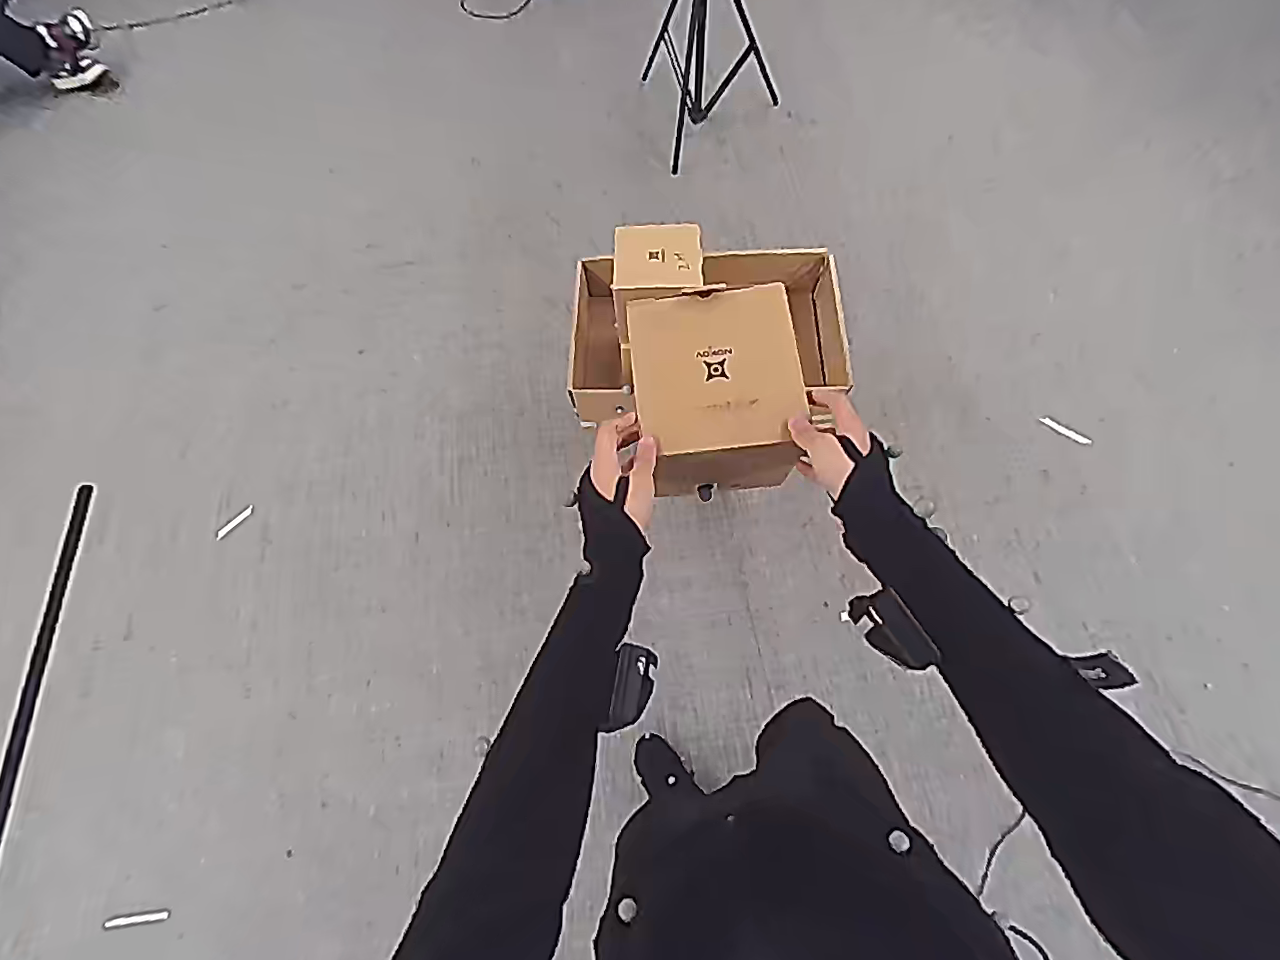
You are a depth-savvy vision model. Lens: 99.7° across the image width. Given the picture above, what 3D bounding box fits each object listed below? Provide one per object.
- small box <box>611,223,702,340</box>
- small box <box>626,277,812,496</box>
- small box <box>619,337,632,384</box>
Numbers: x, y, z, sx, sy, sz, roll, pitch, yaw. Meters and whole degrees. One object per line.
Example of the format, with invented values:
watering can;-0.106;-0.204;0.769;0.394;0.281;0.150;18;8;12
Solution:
small box;0.037;-0.405;1.126;0.179;0.176;0.168;0;67;2
small box;0.076;-0.093;0.602;0.168;0.176;0.179;-6;73;3
small box;0.041;-0.334;1.274;0.168;0.176;0.179;-2;67;2
